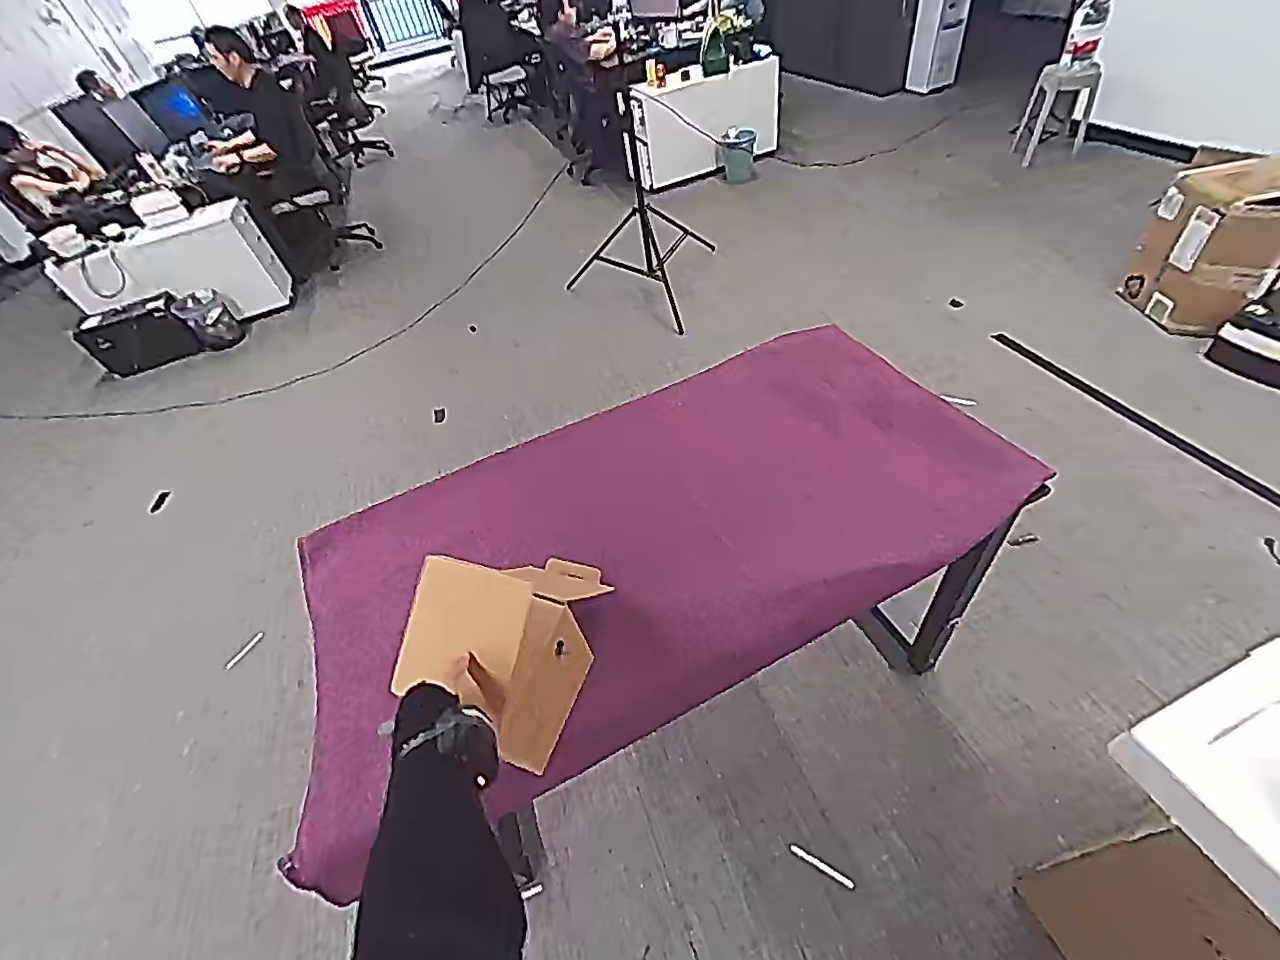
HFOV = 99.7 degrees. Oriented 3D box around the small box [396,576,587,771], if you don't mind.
[{"bbox_3d":[-0.187,0.267,0.748,0.168,0.176,0.179,10,50,22],"label":"small box"}]
